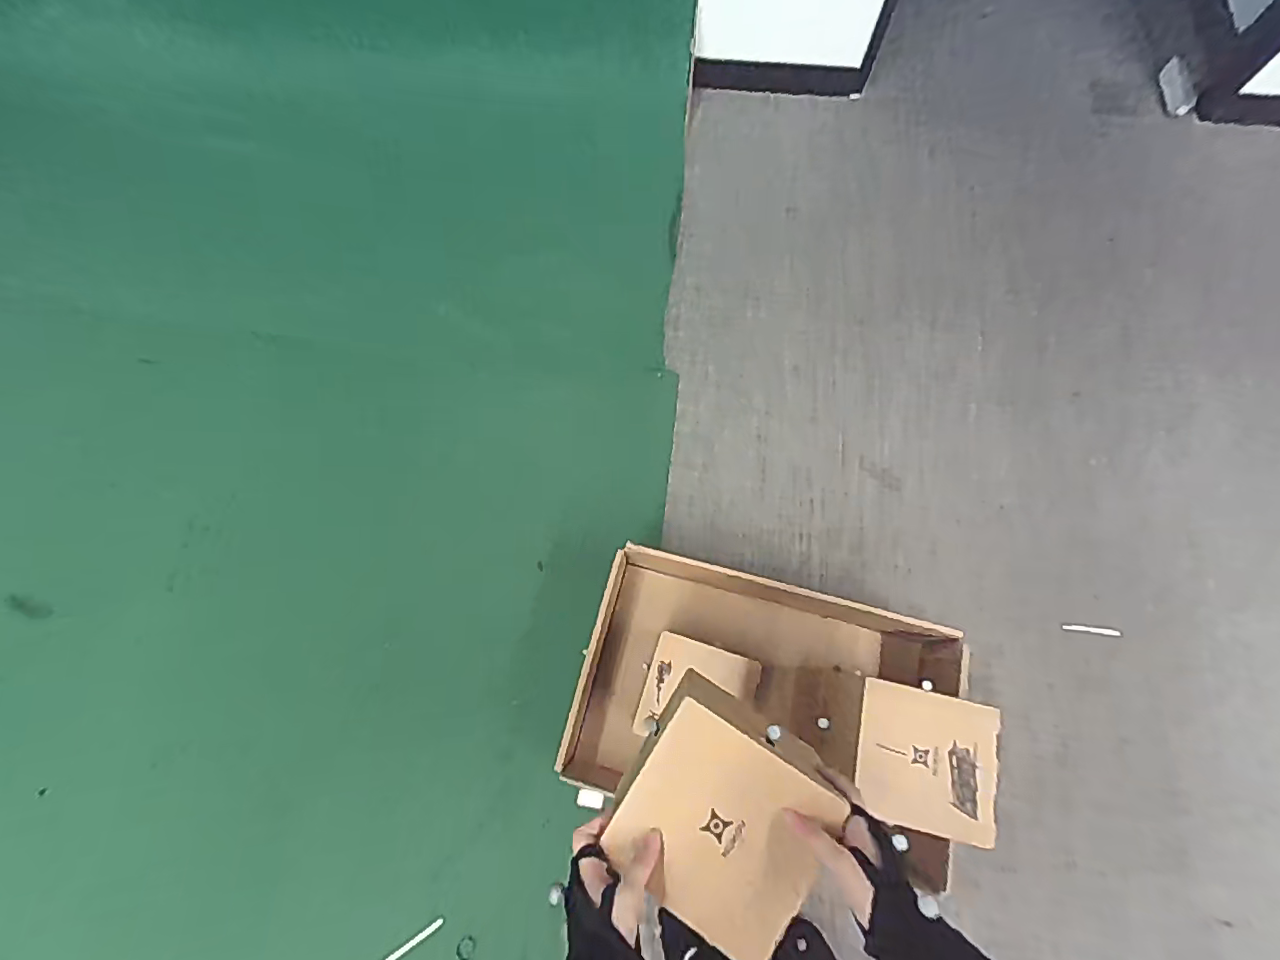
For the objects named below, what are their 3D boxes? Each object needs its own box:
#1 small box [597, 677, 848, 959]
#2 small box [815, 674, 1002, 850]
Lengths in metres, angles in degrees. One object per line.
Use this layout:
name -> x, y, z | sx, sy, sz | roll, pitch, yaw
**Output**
small box -> 0.080, 0.329, 0.571 | 0.179, 0.176, 0.168 | 31, 84, 9
small box -> 0.363, 0.375, 0.754 | 0.179, 0.176, 0.168 | 12, 73, 5
